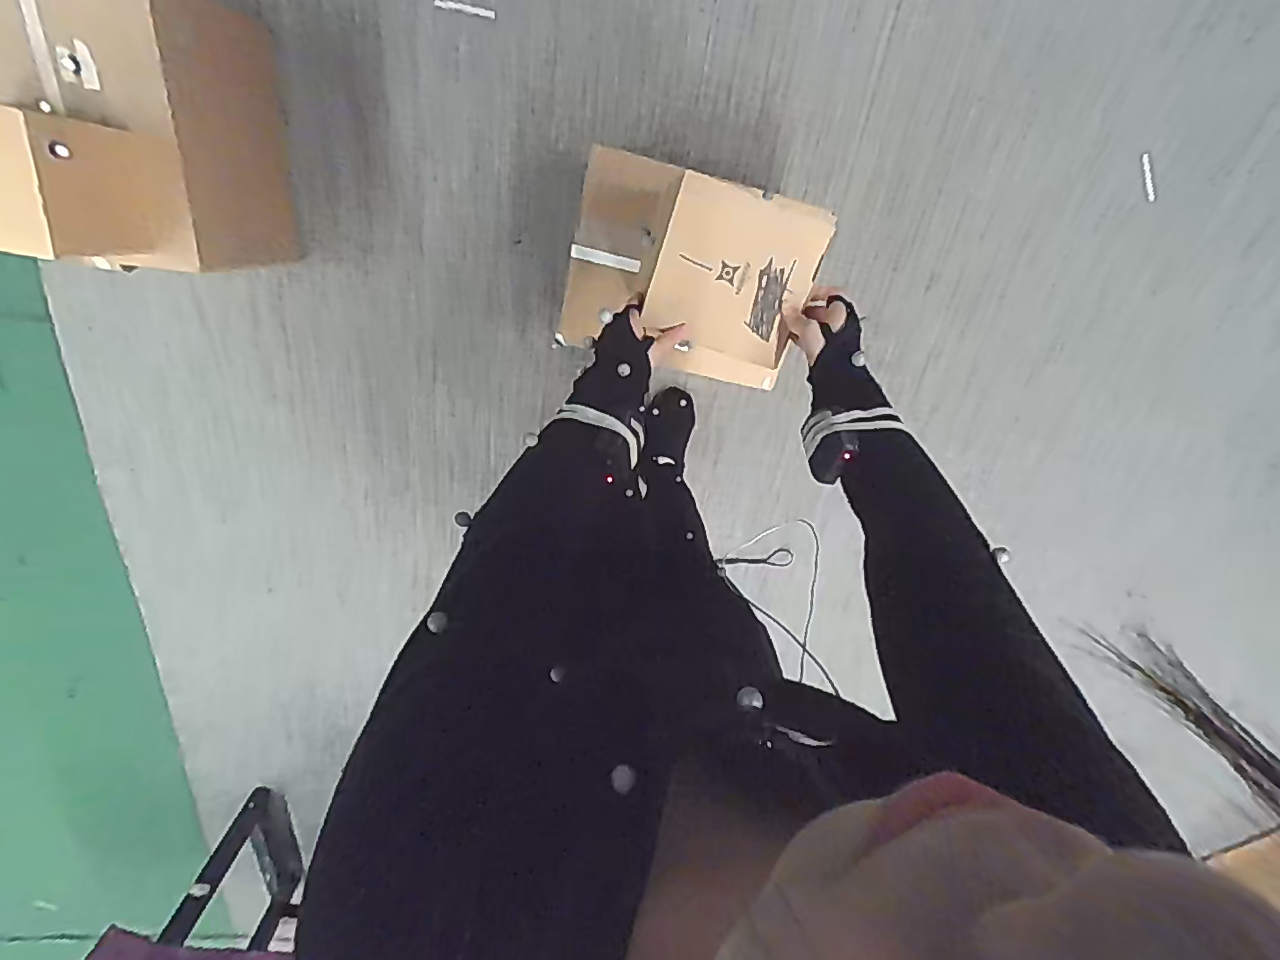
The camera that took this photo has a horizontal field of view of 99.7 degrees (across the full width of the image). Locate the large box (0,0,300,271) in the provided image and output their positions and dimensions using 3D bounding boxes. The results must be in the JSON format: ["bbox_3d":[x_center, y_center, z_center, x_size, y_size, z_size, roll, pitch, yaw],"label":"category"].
[{"bbox_3d":[-0.847,-0.594,0.932,0.320,0.320,0.408,7,113,-5],"label":"large box"}]

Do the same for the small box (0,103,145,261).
[{"bbox_3d":[-0.838,-0.412,0.745,0.168,0.176,0.179,9,113,-7],"label":"small box"}]

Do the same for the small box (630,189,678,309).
[{"bbox_3d":[0.090,-0.322,0.822,0.179,0.176,0.168,15,112,-9],"label":"small box"}]

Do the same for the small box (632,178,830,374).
[{"bbox_3d":[0.097,-0.252,0.674,0.179,0.176,0.168,17,112,-9],"label":"small box"}]
